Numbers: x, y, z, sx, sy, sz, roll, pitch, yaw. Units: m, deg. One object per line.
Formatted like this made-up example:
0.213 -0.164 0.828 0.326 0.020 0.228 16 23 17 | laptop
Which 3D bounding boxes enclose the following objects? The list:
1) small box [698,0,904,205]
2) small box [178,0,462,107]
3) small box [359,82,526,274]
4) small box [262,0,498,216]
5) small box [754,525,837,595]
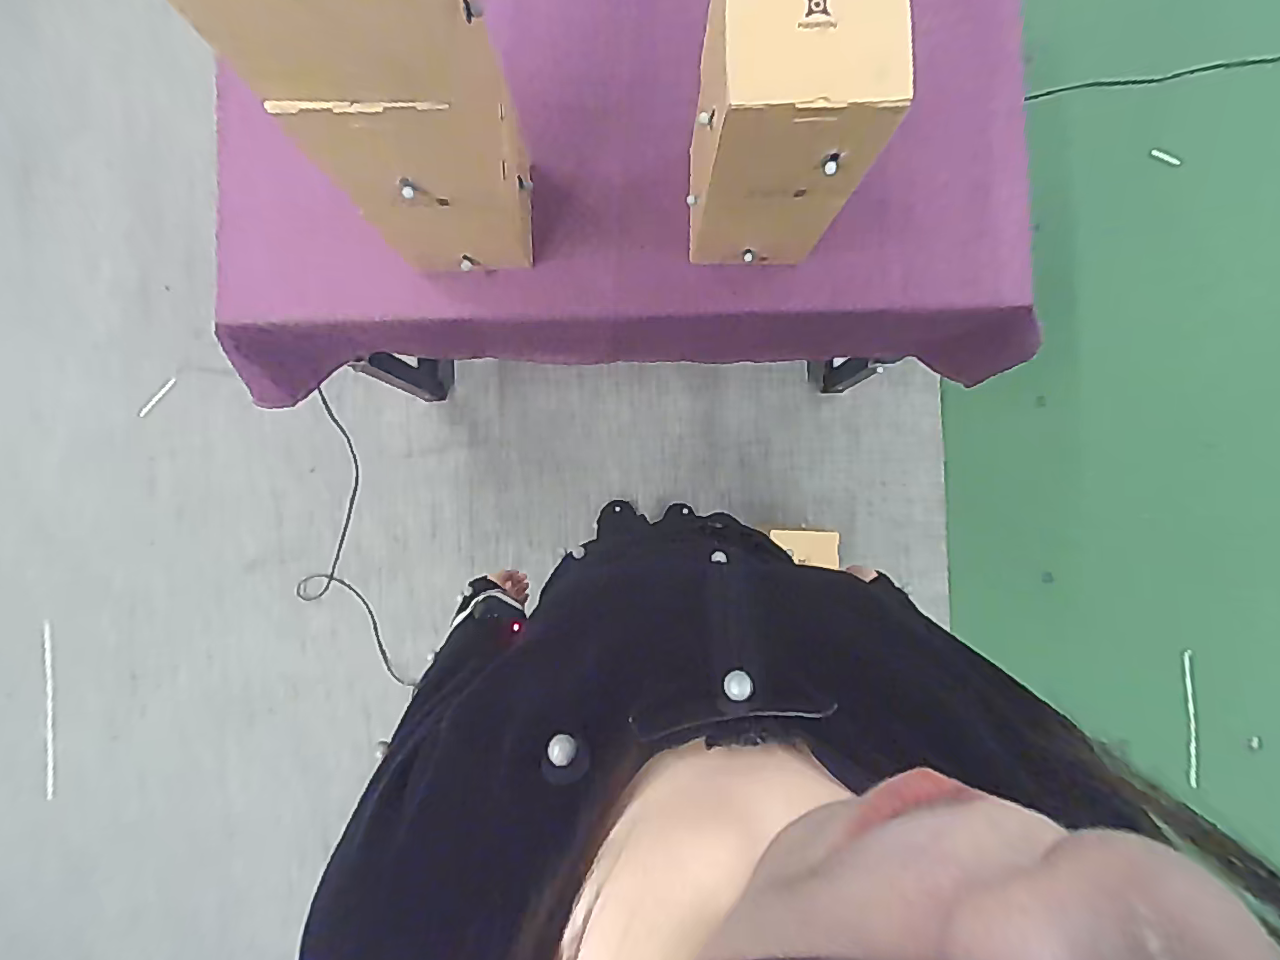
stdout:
0.152 -0.409 0.562 0.168 0.176 0.179 -1 88 -1 | small box
-0.243 -0.409 0.394 0.179 0.176 0.168 0 88 -1 | small box
-0.251 -0.390 0.723 0.179 0.176 0.168 -3 87 -1 | small box
-0.250 -0.401 0.558 0.168 0.176 0.179 -1 88 0 | small box
0.405 0.208 1.435 0.179 0.176 0.168 2 88 -1 | small box
